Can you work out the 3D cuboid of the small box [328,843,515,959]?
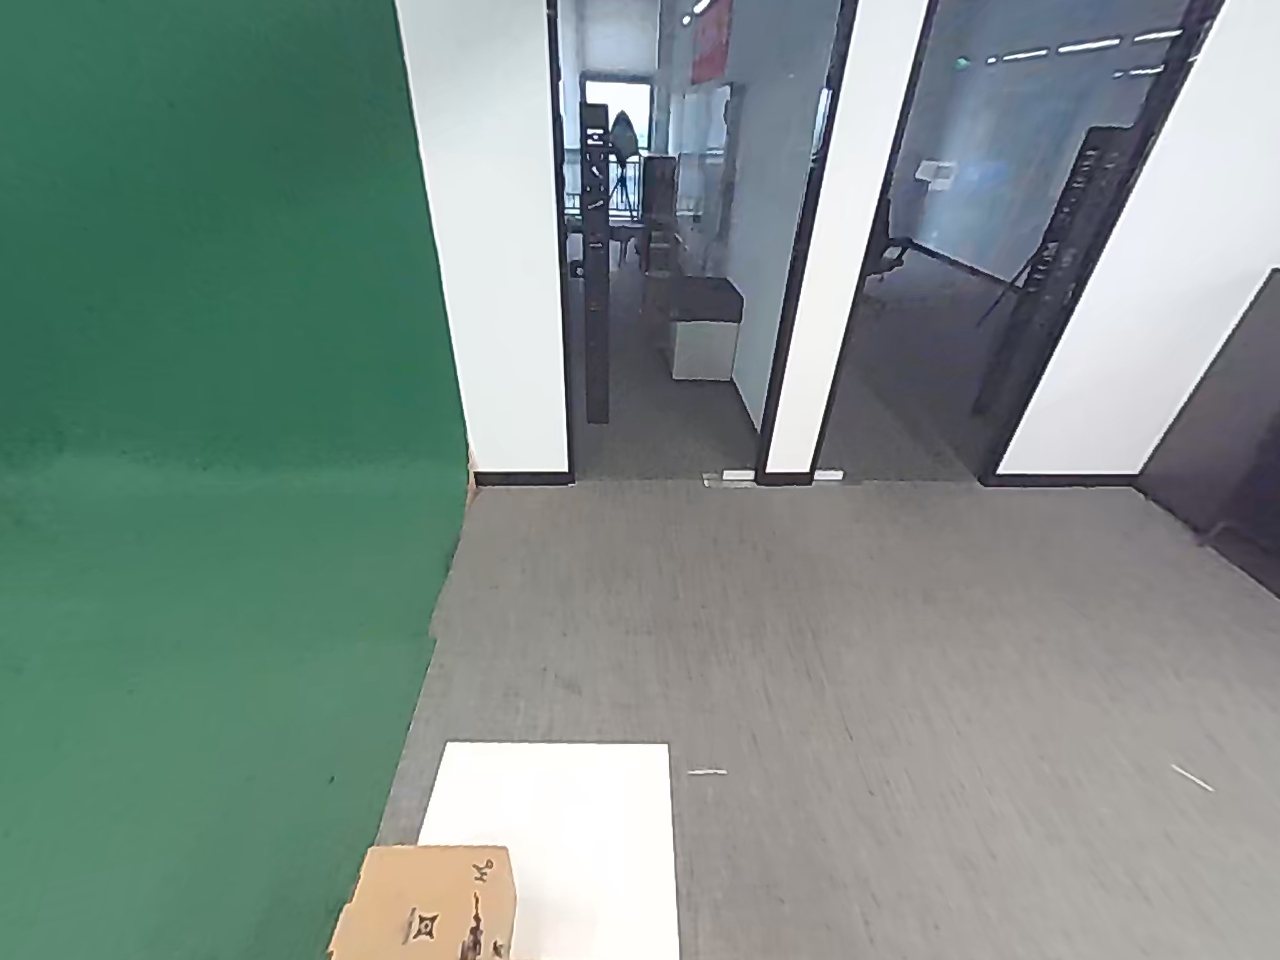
[{"bbox_3d":[-0.258,0.574,0.661,0.179,0.176,0.168,2,33,-3],"label":"small box"}]
